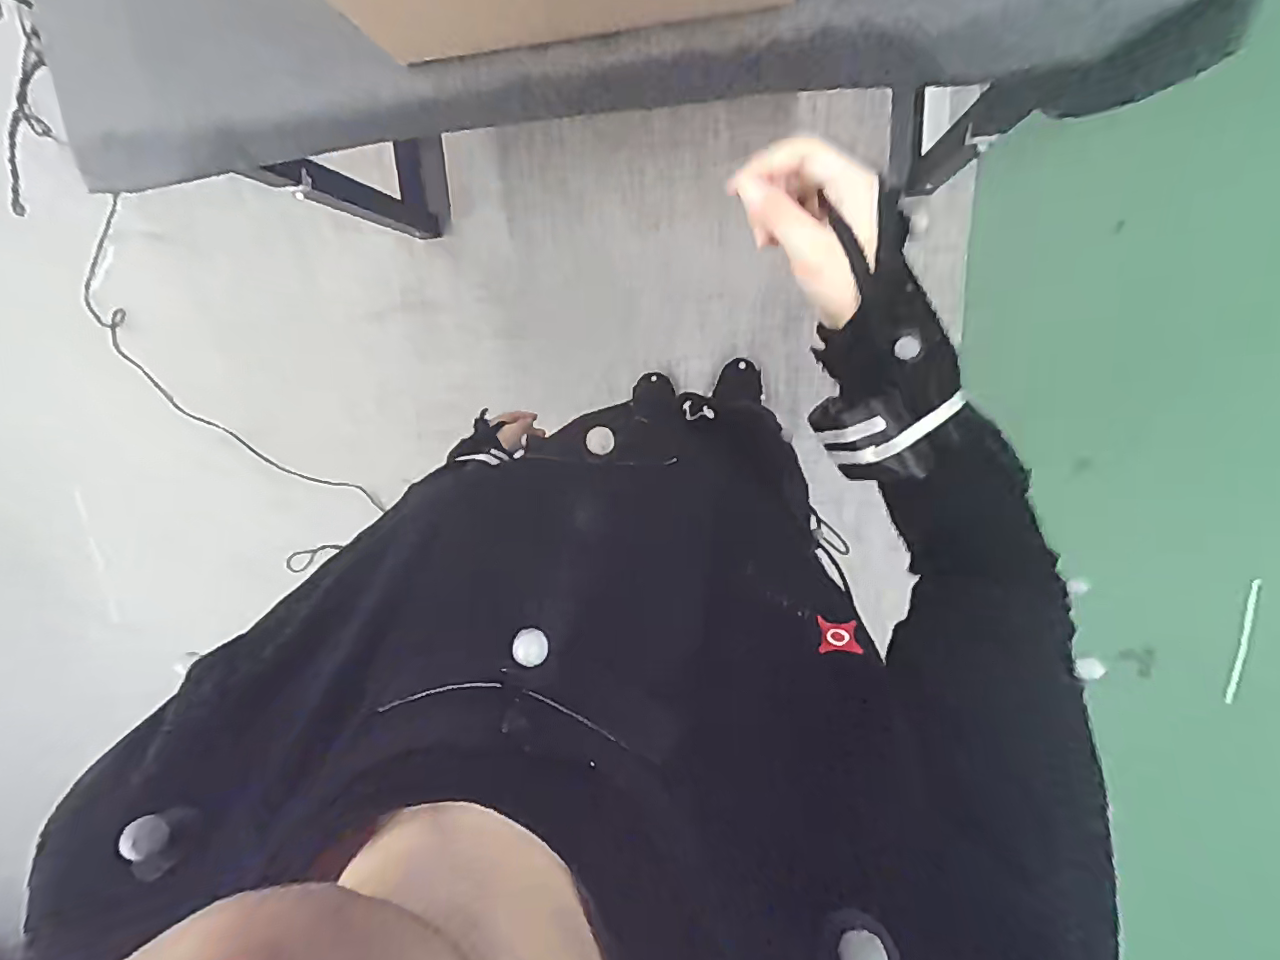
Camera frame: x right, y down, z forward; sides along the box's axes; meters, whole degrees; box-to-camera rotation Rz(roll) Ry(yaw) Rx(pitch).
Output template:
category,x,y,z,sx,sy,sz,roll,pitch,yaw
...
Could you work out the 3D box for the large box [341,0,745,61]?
category,x,y,z,sx,sy,sz,roll,pitch,yaw
large box,-0.086,-0.562,0.362,0.408,0.320,0.320,-2,102,9
